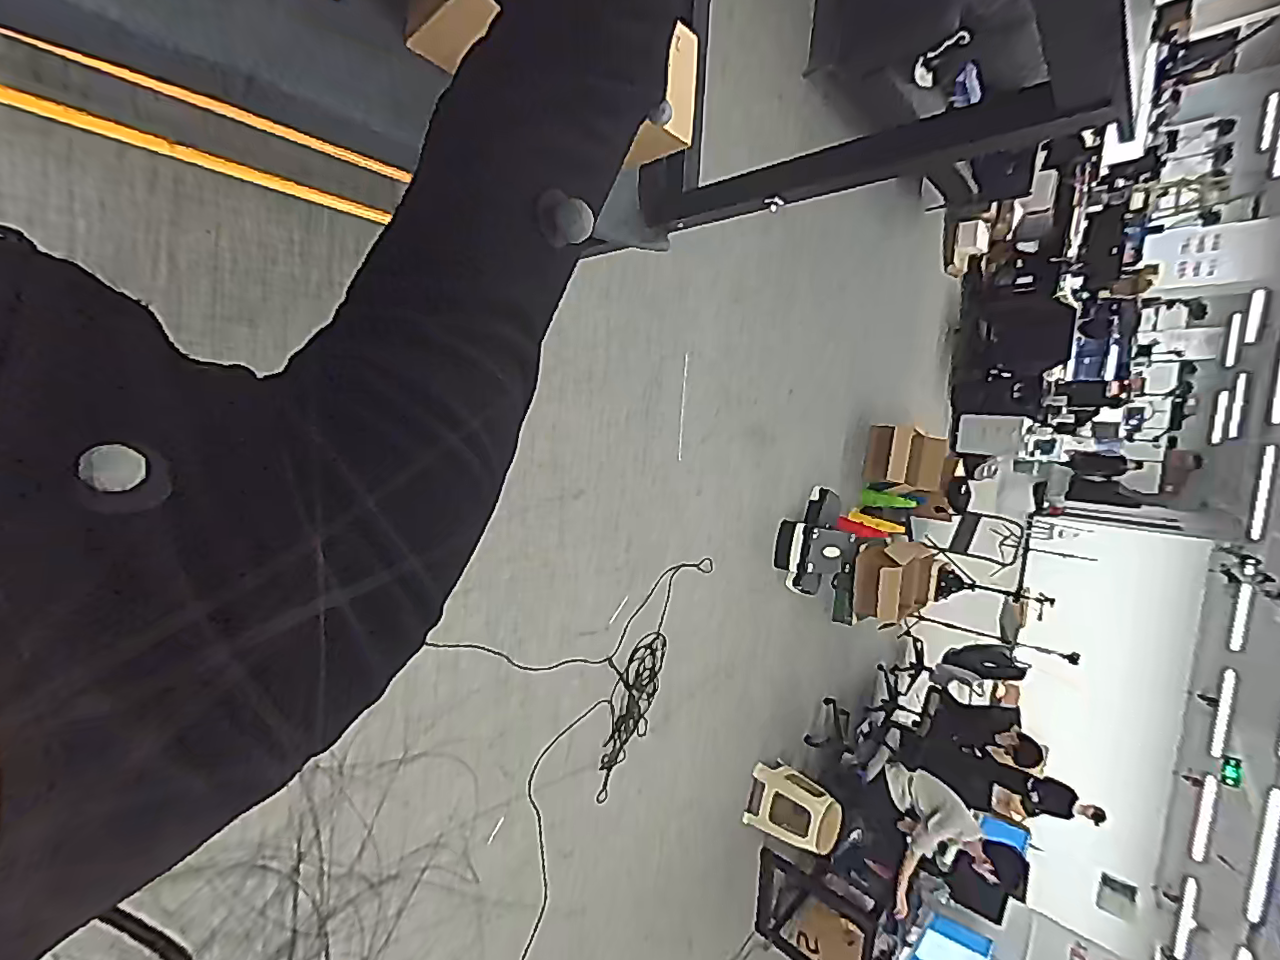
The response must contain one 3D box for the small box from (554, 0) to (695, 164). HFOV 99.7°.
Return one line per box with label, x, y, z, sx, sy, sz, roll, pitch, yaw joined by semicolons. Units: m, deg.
small box;-0.028;-0.664;0.903;0.168;0.176;0.179;-3;98;-48
